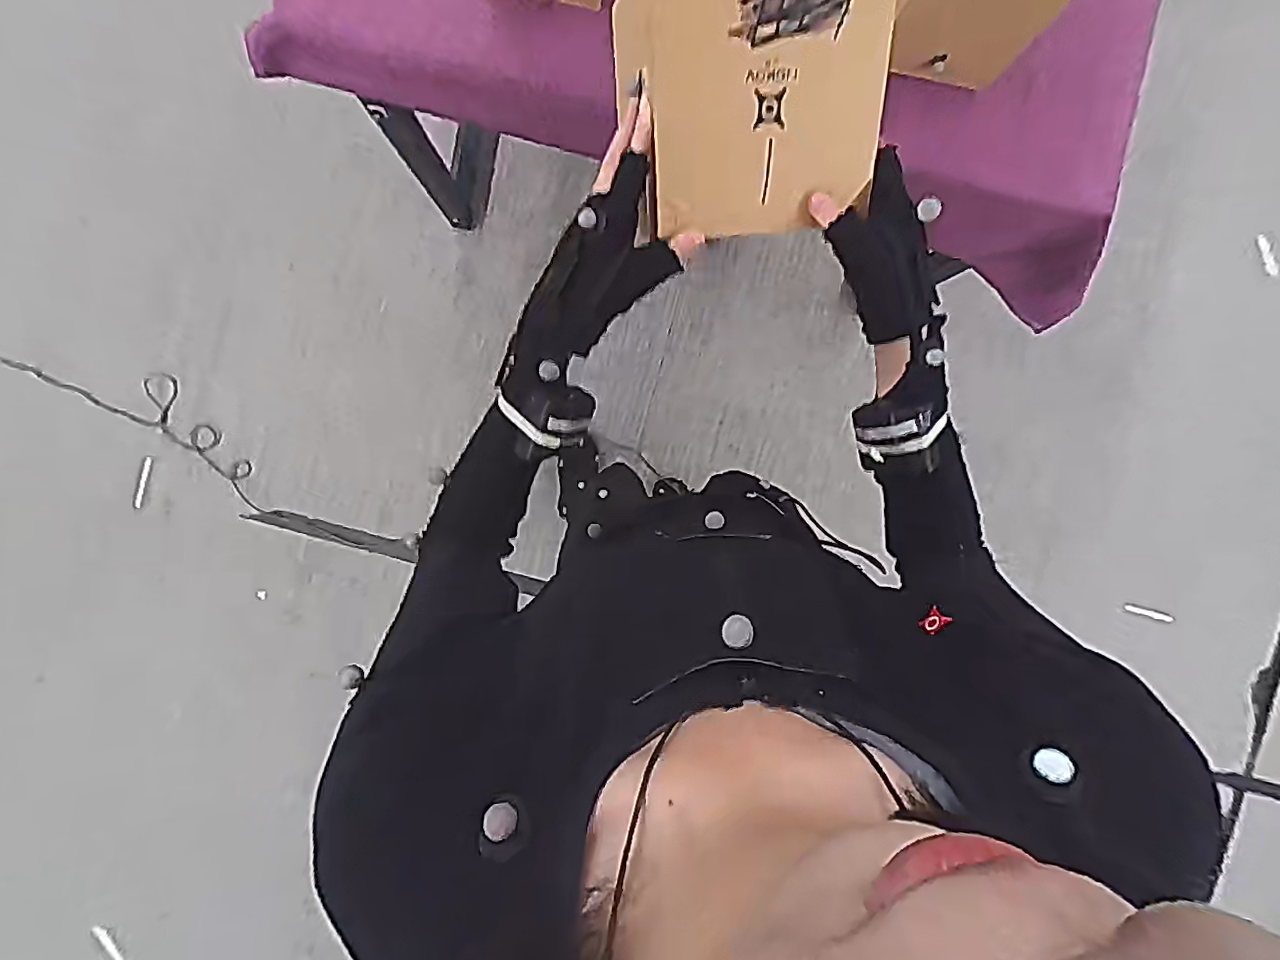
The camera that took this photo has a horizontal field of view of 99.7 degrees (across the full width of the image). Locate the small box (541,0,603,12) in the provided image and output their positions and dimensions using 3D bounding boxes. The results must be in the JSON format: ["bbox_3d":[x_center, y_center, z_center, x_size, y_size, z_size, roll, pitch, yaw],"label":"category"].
[{"bbox_3d":[-0.114,-0.735,0.655,0.168,0.176,0.179,10,93,-2],"label":"small box"}]

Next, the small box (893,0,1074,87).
[{"bbox_3d":[0.420,-0.643,0.684,0.179,0.176,0.168,9,92,-3],"label":"small box"}]

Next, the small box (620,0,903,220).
[{"bbox_3d":[0.078,-0.306,0.429,0.168,0.176,0.179,-6,118,-7],"label":"small box"}]
